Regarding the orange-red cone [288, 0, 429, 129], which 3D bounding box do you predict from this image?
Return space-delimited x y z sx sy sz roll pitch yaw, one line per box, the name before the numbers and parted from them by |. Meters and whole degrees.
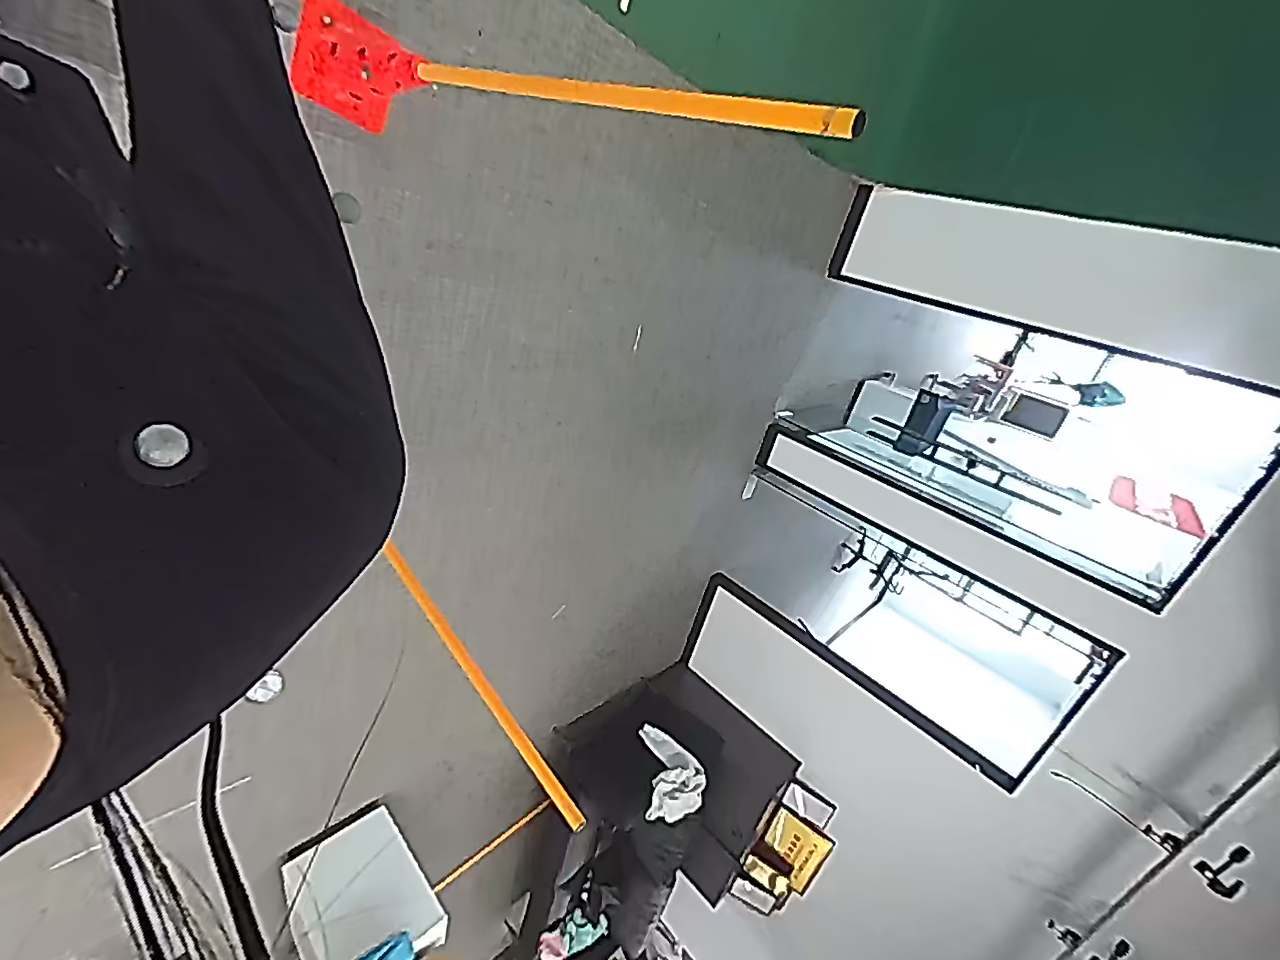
orange-red cone | -0.515 -0.822 1.070 0.198 0.360 0.199 6 114 -52
